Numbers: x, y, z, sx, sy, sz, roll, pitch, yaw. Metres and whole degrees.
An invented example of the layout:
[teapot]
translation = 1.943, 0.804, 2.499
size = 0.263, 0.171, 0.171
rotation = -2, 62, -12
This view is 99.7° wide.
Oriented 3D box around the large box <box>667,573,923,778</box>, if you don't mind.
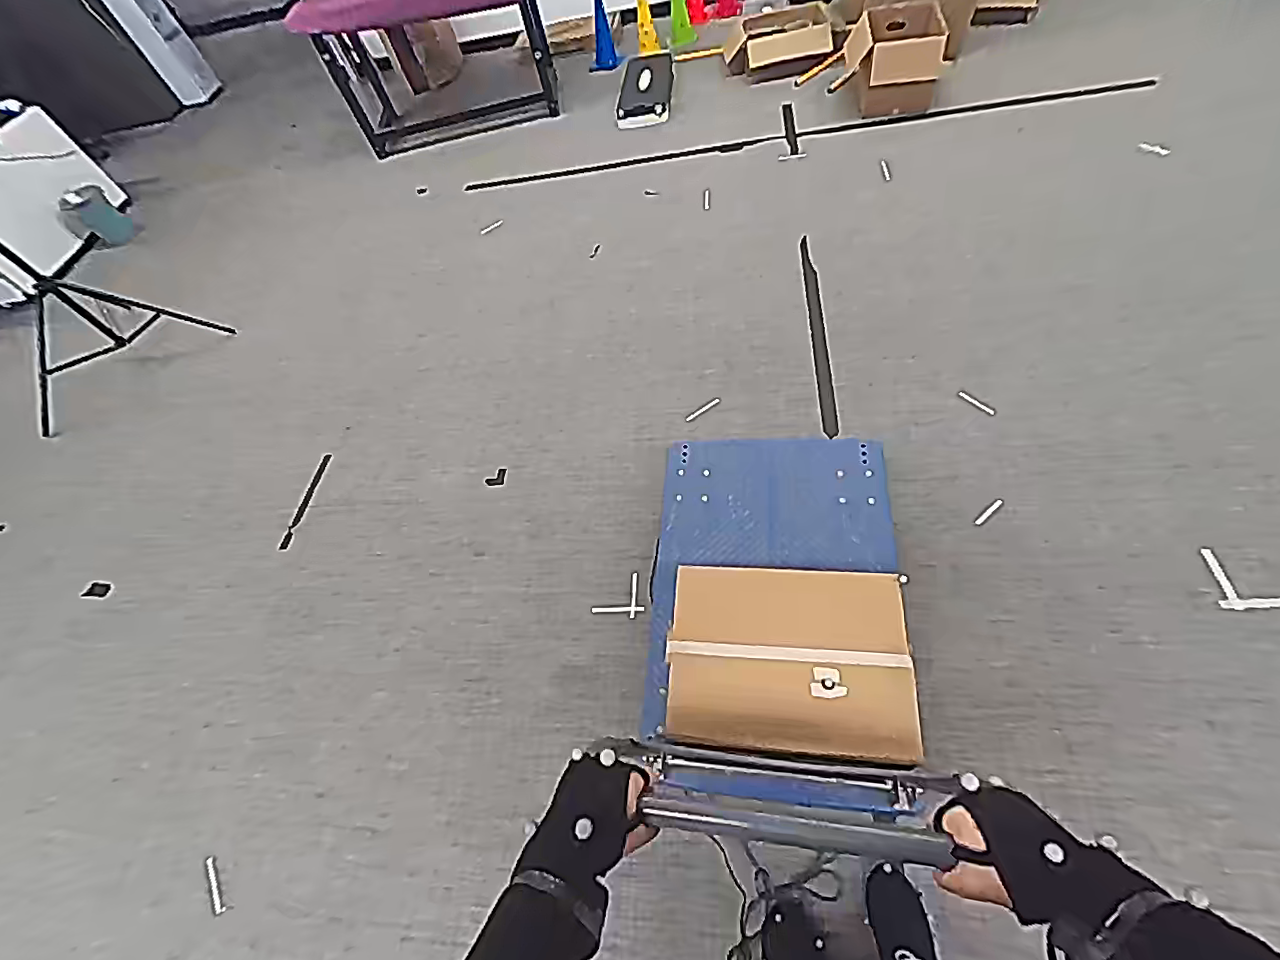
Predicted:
[large box]
translation = 0.274, 0.386, 1.057
size = 0.408, 0.320, 0.320
rotation = 0, 61, 11
